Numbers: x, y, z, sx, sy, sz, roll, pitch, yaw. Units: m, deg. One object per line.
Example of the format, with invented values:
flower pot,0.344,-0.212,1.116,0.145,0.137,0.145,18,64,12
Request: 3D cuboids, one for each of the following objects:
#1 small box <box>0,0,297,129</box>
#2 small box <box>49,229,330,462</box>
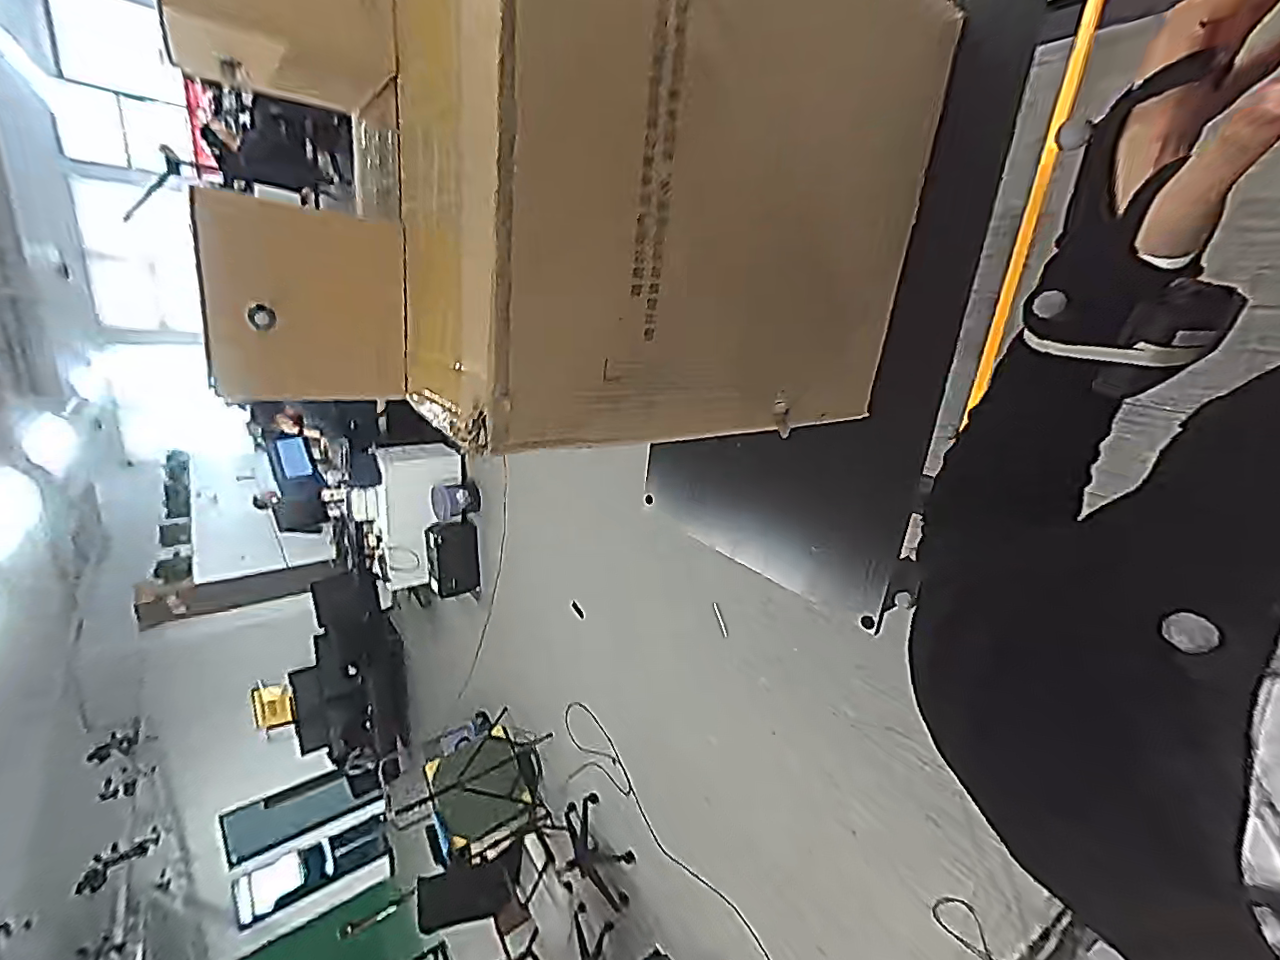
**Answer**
small box,-0.384,-0.402,0.428,0.179,0.176,0.168,26,119,49
small box,-0.402,-0.128,0.510,0.168,0.176,0.179,28,117,47
